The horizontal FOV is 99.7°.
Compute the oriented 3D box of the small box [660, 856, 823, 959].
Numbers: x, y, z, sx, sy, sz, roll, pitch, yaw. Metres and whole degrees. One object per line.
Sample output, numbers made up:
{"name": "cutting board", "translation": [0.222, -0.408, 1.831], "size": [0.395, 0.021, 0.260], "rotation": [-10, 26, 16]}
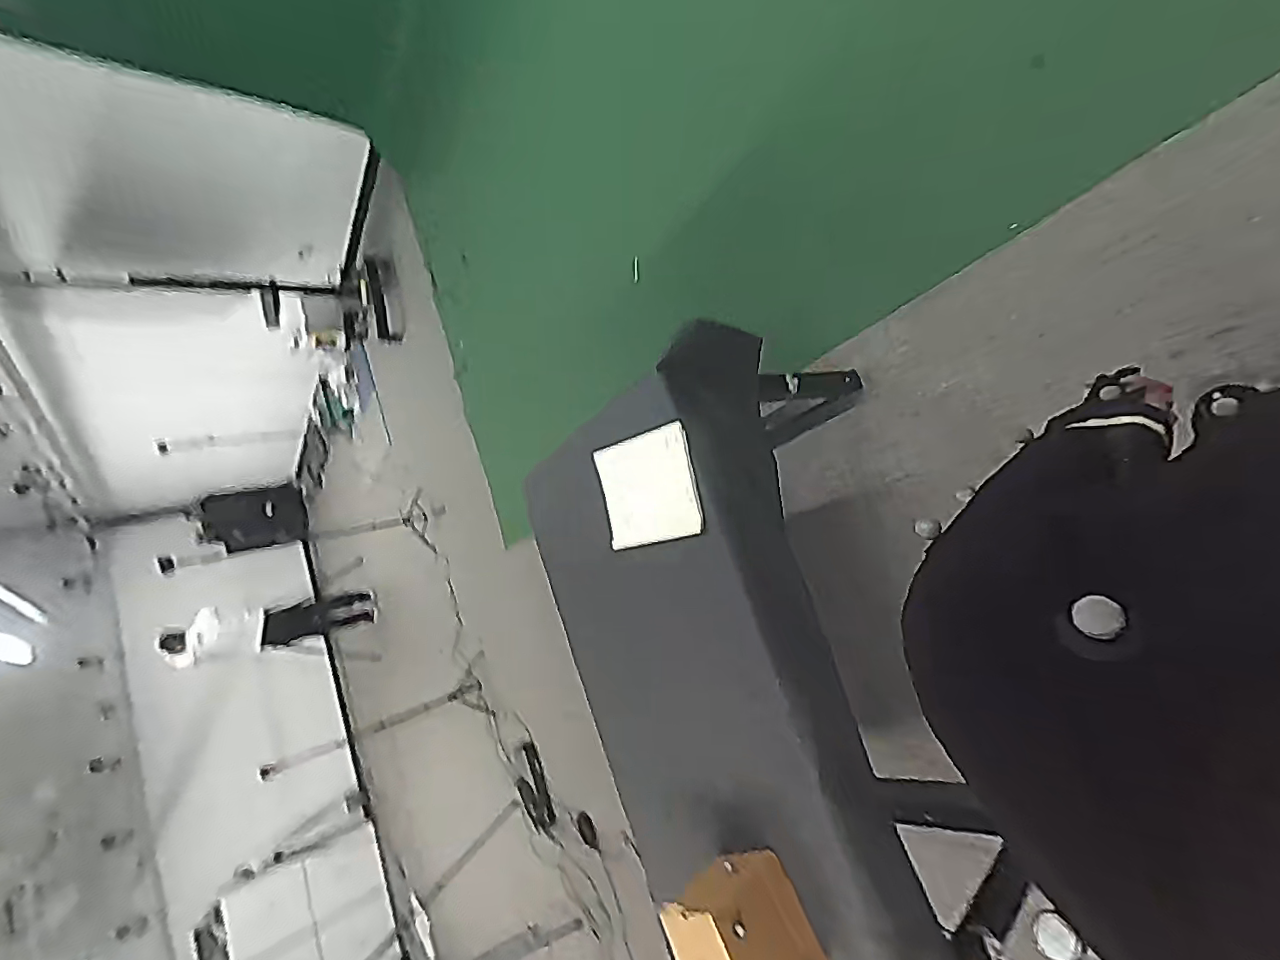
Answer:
{"name": "small box", "translation": [0.170, 0.763, 0.892], "size": [0.168, 0.176, 0.179], "rotation": [-49, 60, 44]}
